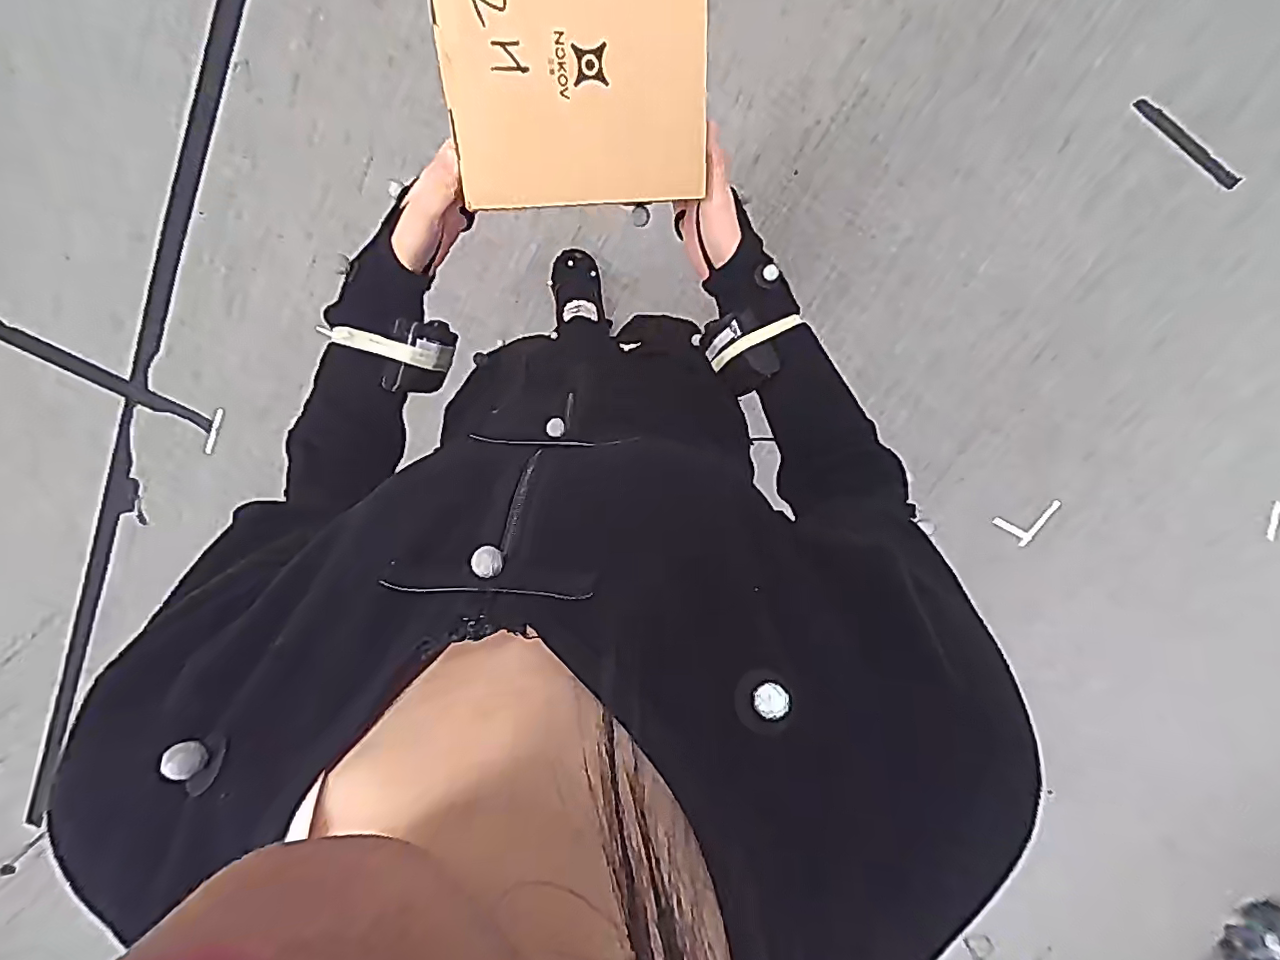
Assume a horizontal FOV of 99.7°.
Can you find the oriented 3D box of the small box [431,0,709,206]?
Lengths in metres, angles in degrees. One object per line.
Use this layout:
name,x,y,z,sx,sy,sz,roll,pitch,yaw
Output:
small box,-0.049,-0.311,0.422,0.179,0.176,0.168,-4,118,-4
